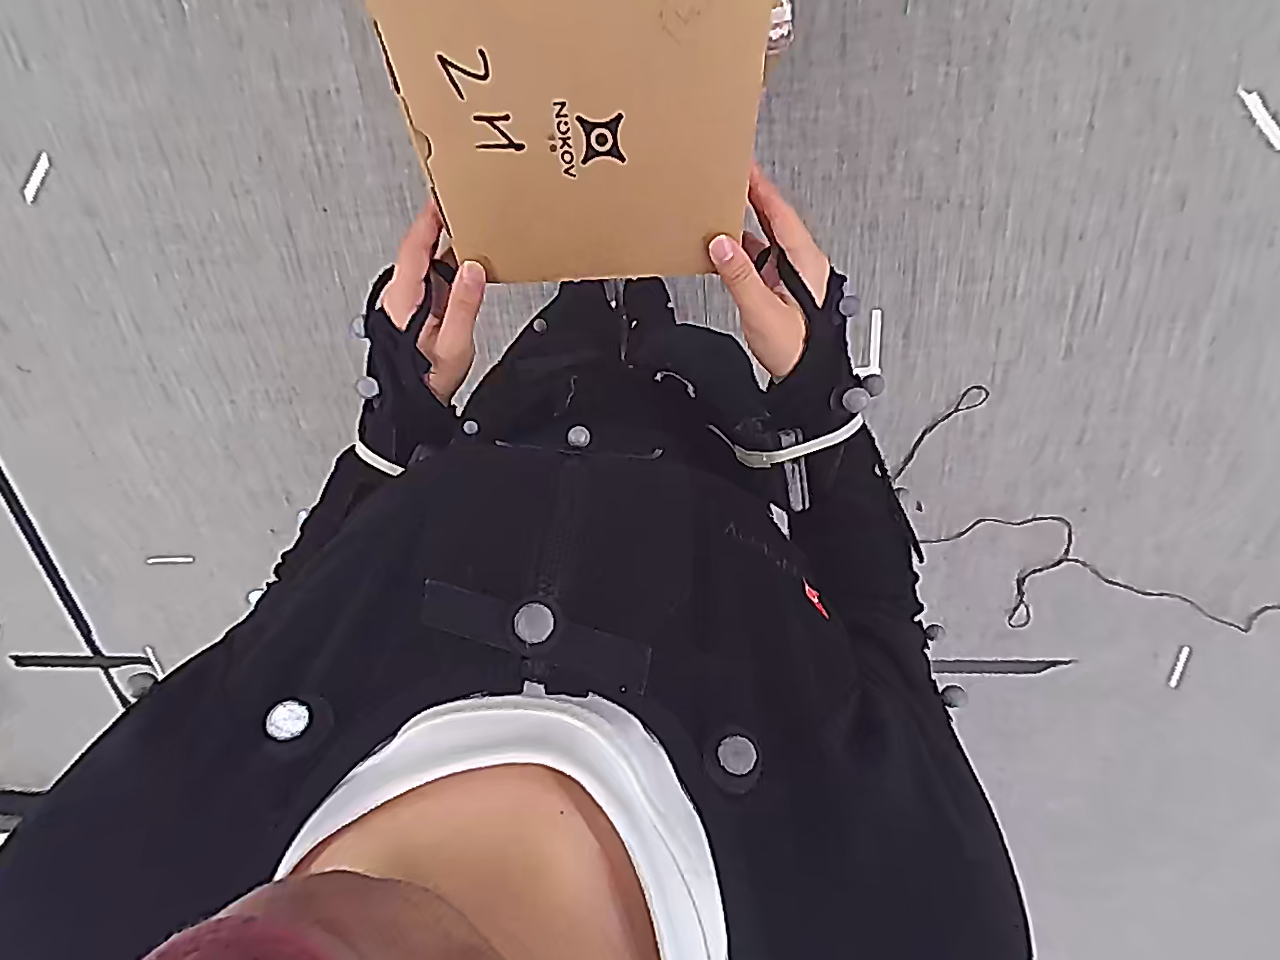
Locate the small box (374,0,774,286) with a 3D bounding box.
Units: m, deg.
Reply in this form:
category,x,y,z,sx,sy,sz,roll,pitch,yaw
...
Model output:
category,x,y,z,sx,sy,sz,roll,pitch,yaw
small box,-0.029,-0.241,0.327,0.179,0.176,0.168,-2,145,1
